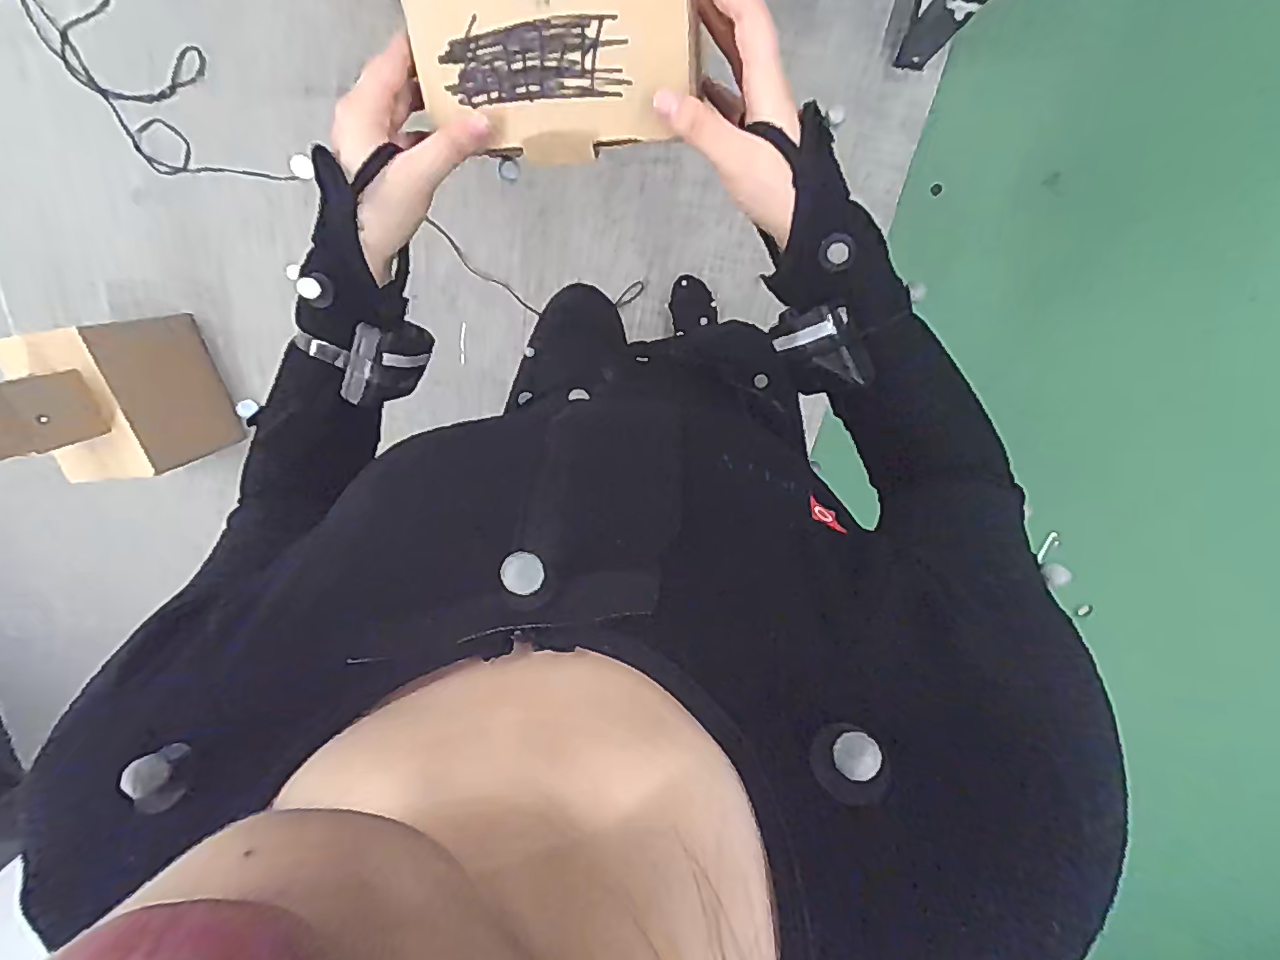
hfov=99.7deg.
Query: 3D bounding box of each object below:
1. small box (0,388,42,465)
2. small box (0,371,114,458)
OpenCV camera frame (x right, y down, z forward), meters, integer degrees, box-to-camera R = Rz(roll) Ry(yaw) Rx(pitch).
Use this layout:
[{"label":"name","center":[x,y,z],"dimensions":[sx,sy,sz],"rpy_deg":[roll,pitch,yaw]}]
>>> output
[{"label":"small box","center":[-1.519,-0.111,1.197],"dimensions":[0.168,0.176,0.179],"rpy_deg":[-4,113,11]},{"label":"small box","center":[-1.492,-0.163,1.349],"dimensions":[0.168,0.176,0.179],"rpy_deg":[-4,112,11]}]
